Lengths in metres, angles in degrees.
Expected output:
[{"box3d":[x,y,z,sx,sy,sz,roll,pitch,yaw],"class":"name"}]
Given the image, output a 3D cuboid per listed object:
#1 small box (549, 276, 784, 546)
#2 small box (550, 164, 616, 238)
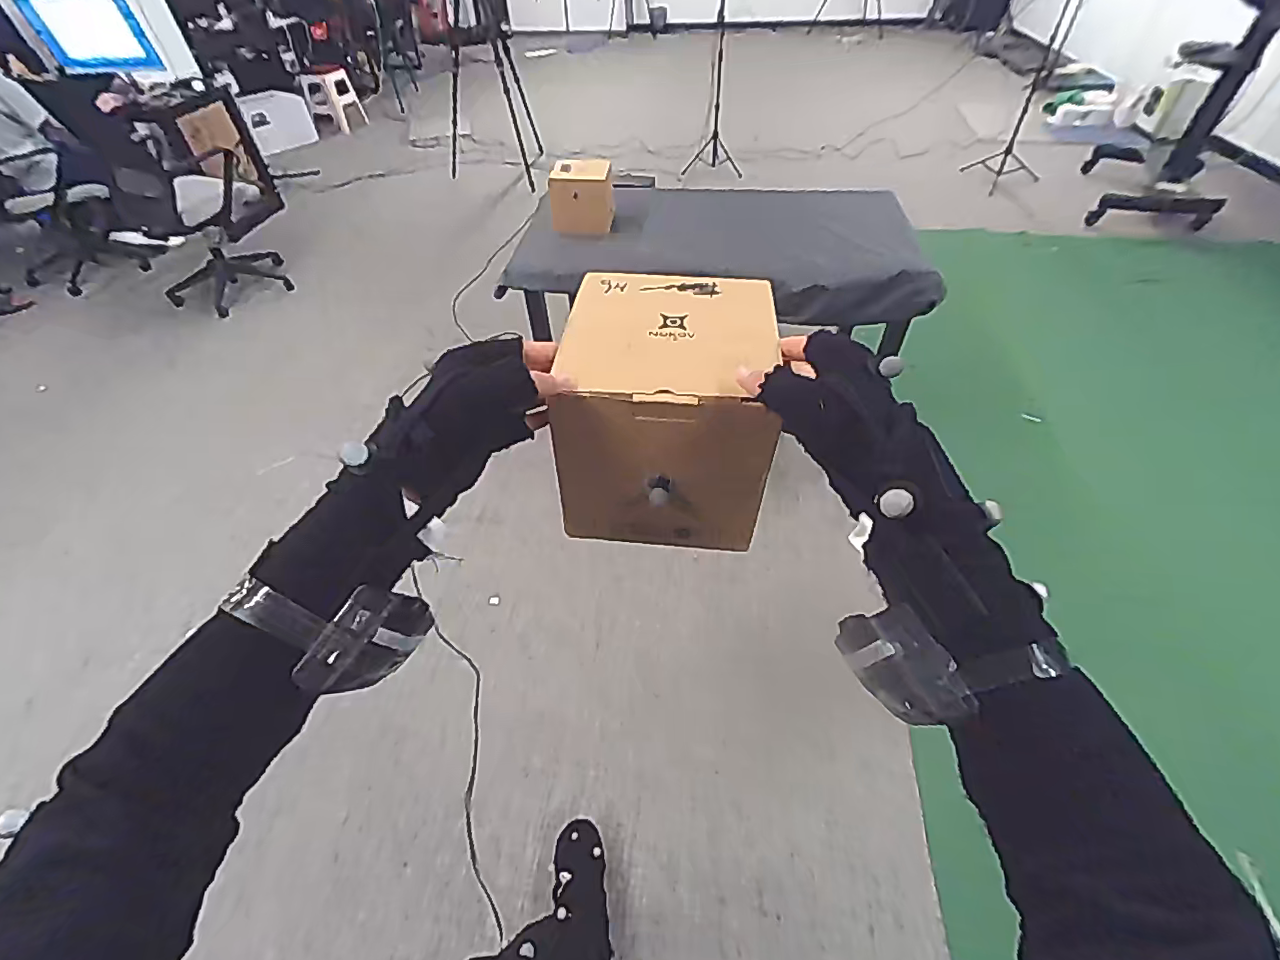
[{"box3d":[0.026,-0.059,0.481,0.168,0.176,0.179,4,48,4],"class":"small box"},{"box3d":[-0.173,-0.881,1.710,0.179,0.176,0.168,3,48,4],"class":"small box"}]
